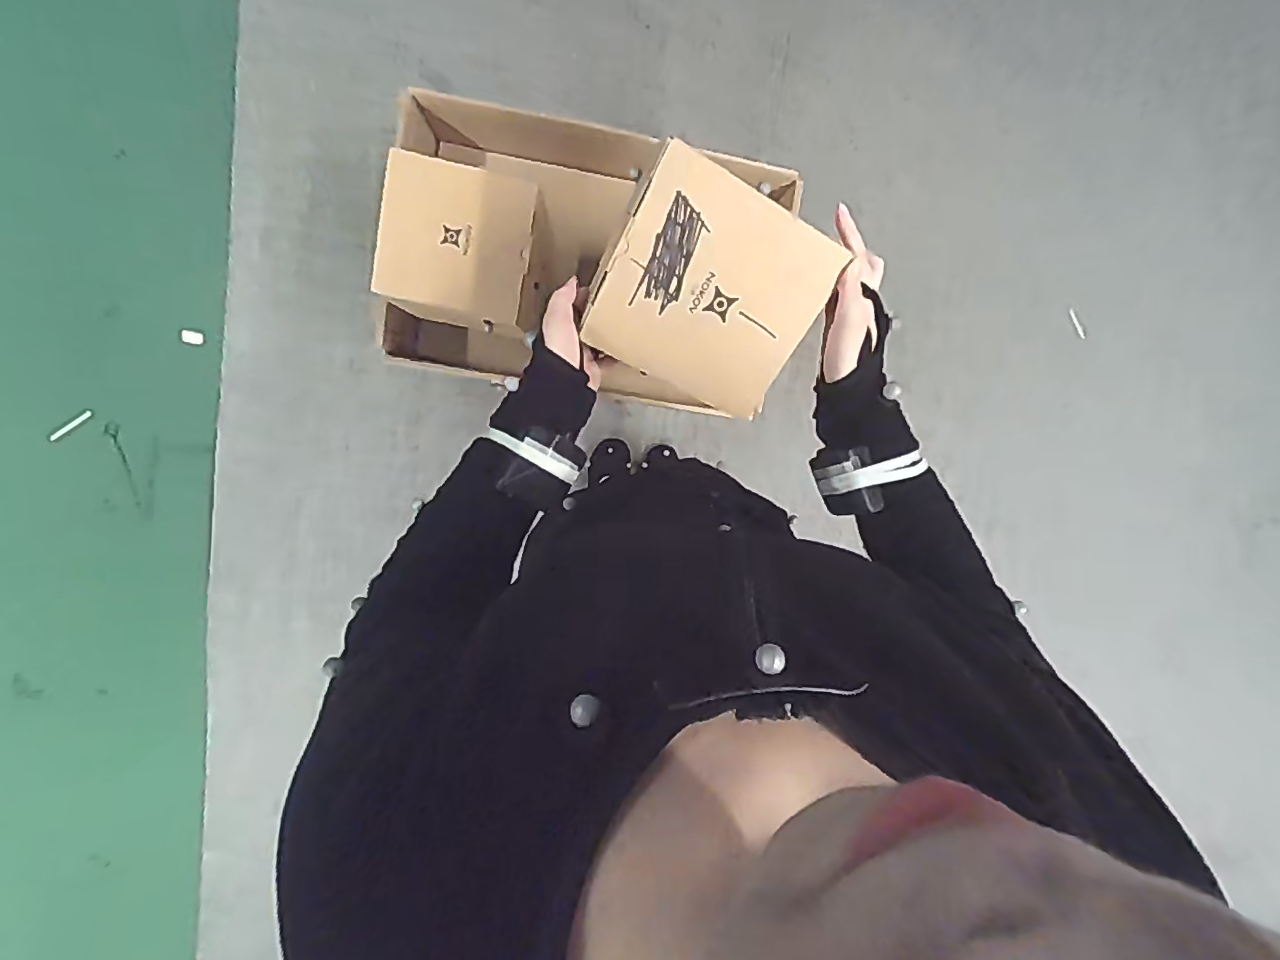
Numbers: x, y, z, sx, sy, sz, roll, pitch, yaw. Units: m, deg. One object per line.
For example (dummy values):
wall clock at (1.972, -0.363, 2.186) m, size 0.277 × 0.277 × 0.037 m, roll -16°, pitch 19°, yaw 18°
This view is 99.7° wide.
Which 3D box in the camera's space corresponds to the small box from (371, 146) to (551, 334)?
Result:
small box at (-0.222, -0.298, 0.713) m, size 0.179 × 0.176 × 0.168 m, roll 11°, pitch 97°, yaw -7°

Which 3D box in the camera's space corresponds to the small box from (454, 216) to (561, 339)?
small box at (-0.231, -0.332, 0.872) m, size 0.179 × 0.176 × 0.168 m, roll 10°, pitch 97°, yaw -6°

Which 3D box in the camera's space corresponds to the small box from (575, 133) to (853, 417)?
small box at (0.054, -0.192, 0.511) m, size 0.179 × 0.176 × 0.168 m, roll 23°, pitch 117°, yaw -16°
